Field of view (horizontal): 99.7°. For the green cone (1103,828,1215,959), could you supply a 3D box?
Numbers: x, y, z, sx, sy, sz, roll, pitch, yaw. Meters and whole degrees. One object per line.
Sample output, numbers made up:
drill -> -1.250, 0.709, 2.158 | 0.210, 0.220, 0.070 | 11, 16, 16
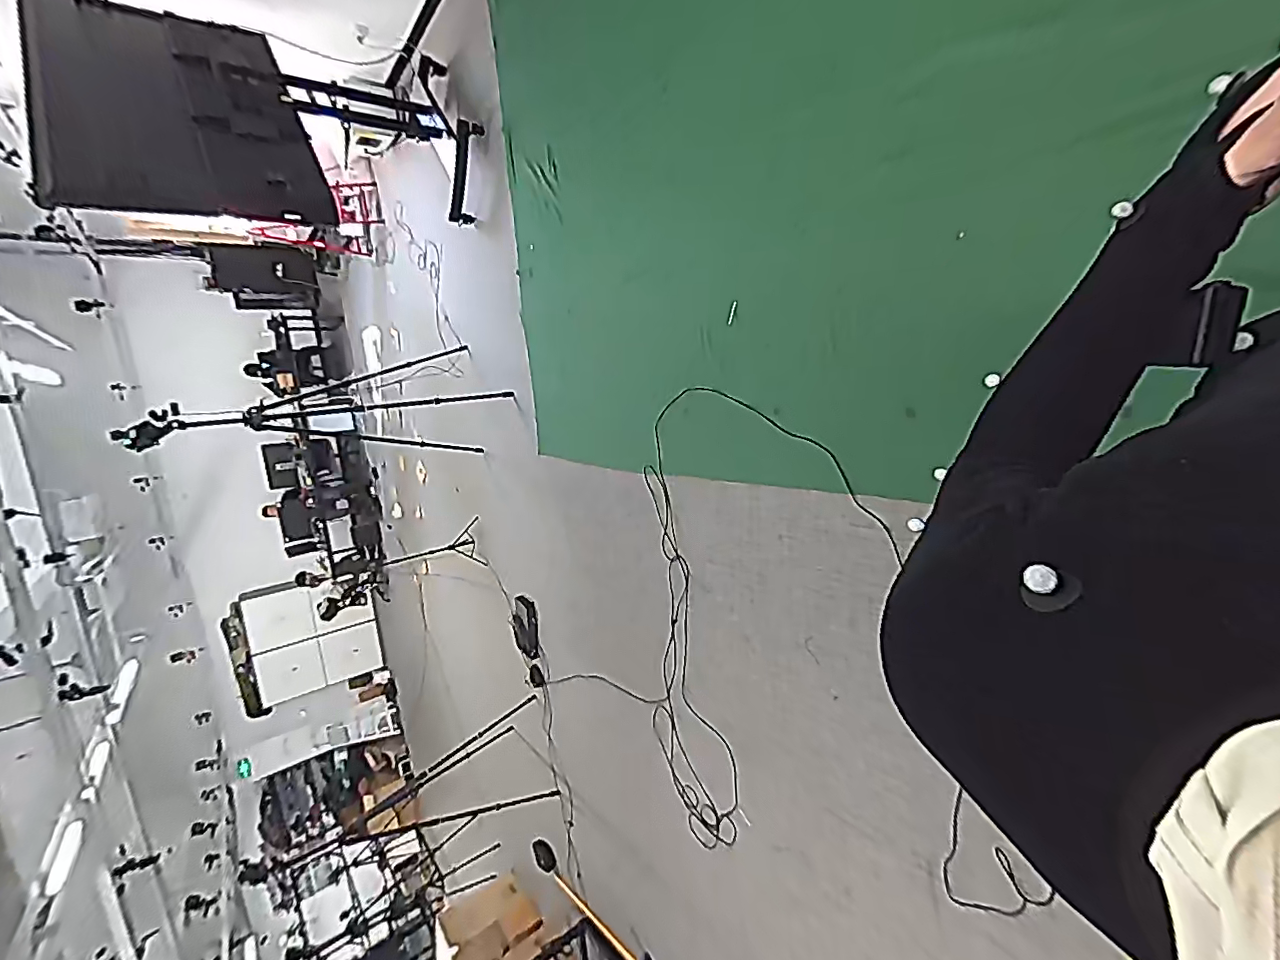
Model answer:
green cone -> 1.189, 1.055, 1.285 | 0.202, 0.368, 0.200 | 10, 108, 51
